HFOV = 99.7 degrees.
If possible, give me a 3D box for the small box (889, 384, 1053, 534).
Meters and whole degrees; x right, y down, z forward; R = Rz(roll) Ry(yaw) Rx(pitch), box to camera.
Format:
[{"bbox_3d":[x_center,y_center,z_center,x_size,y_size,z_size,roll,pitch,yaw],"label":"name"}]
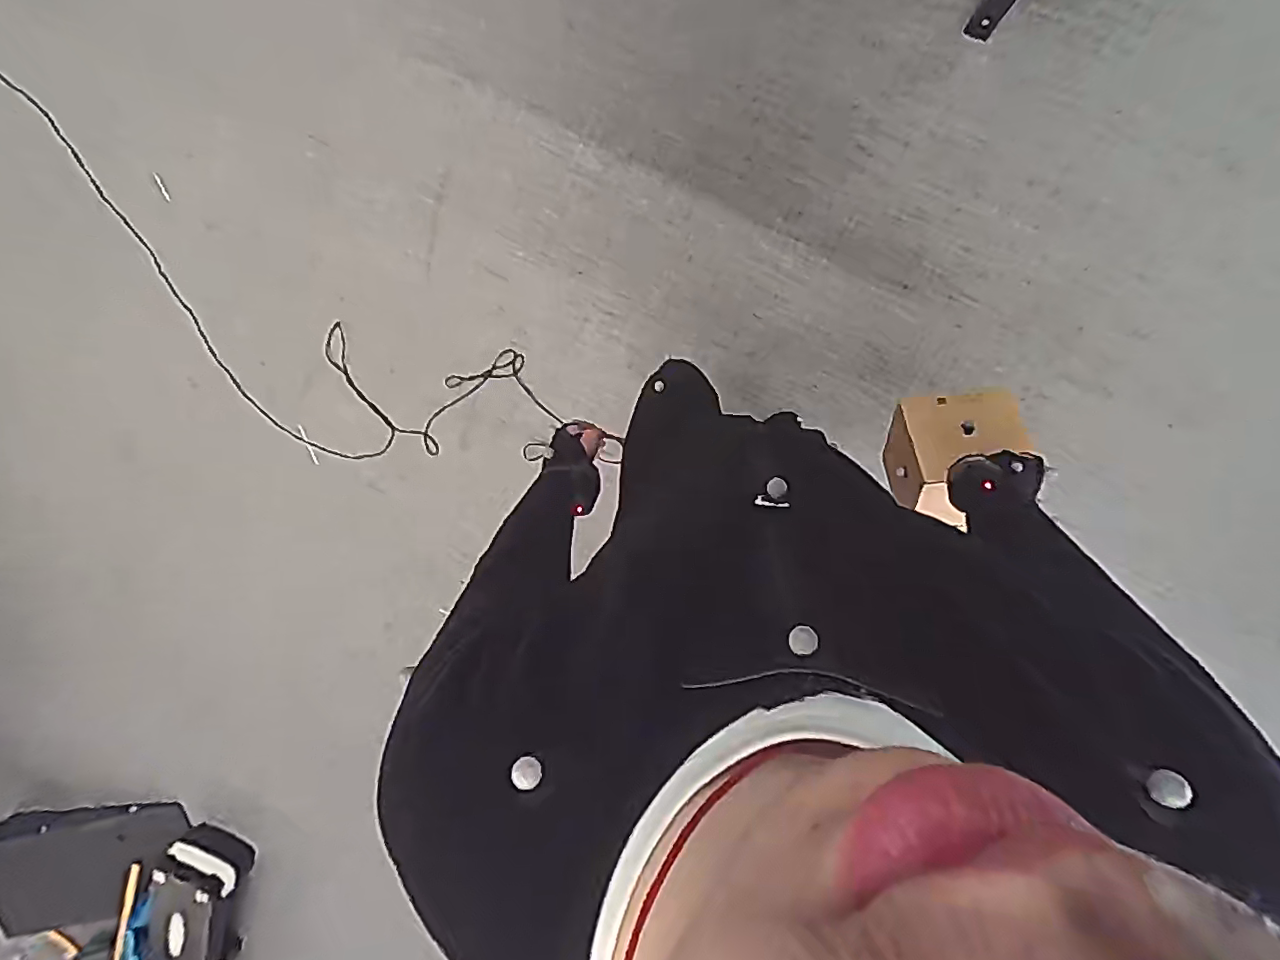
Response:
[{"bbox_3d":[0.517,-0.037,0.877,0.168,0.179,0.176,-11,56,13],"label":"small box"}]
